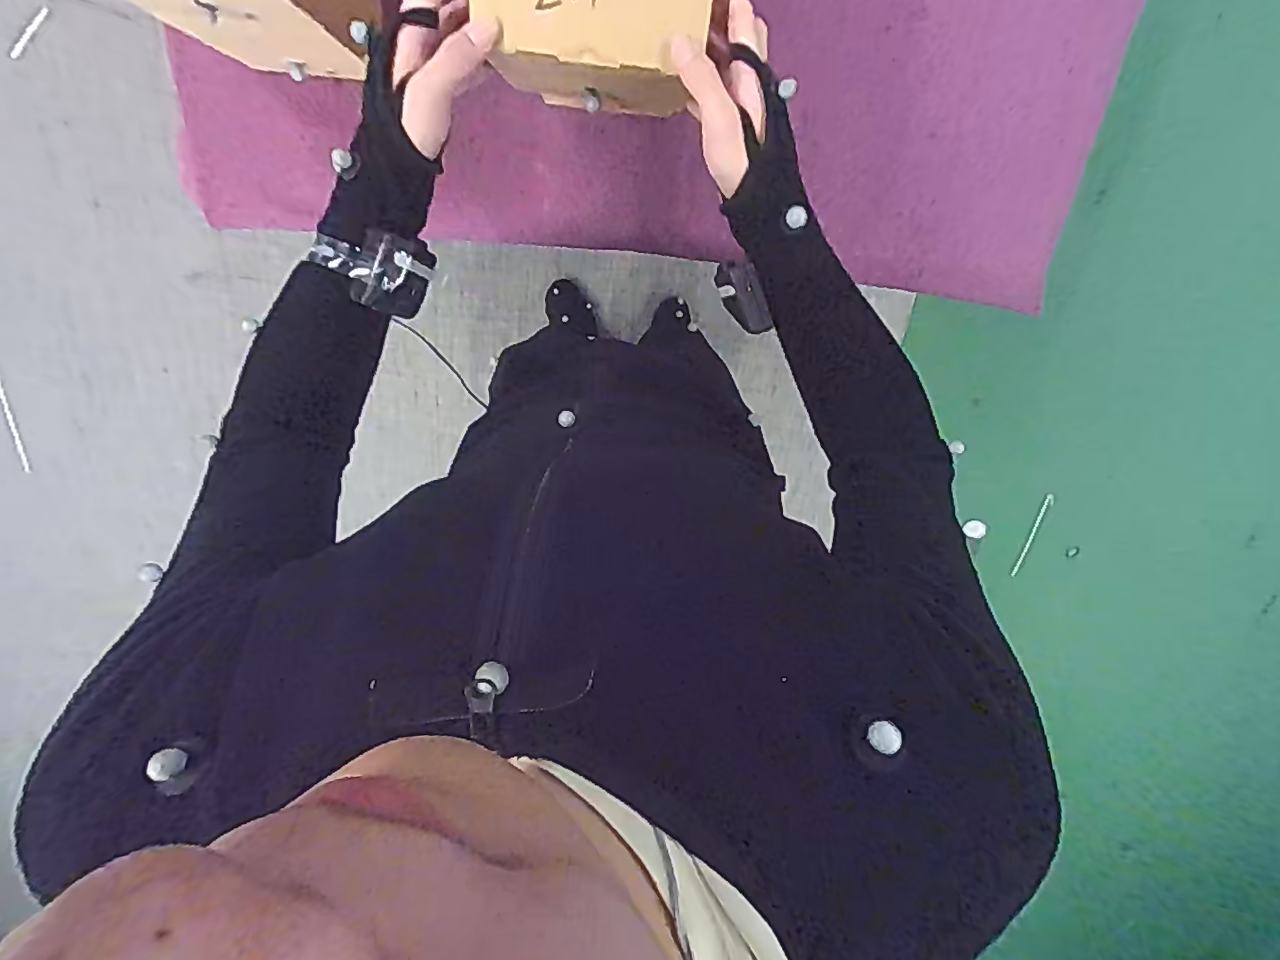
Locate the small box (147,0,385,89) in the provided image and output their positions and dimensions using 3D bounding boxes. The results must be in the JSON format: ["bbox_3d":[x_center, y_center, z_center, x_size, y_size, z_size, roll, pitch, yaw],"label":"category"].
[{"bbox_3d":[-0.389,-0.549,0.571,0.168,0.176,0.179,2,112,-5],"label":"small box"}]

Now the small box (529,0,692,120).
[{"bbox_3d":[-0.030,-0.528,0.608,0.168,0.176,0.179,3,111,-5],"label":"small box"}]
